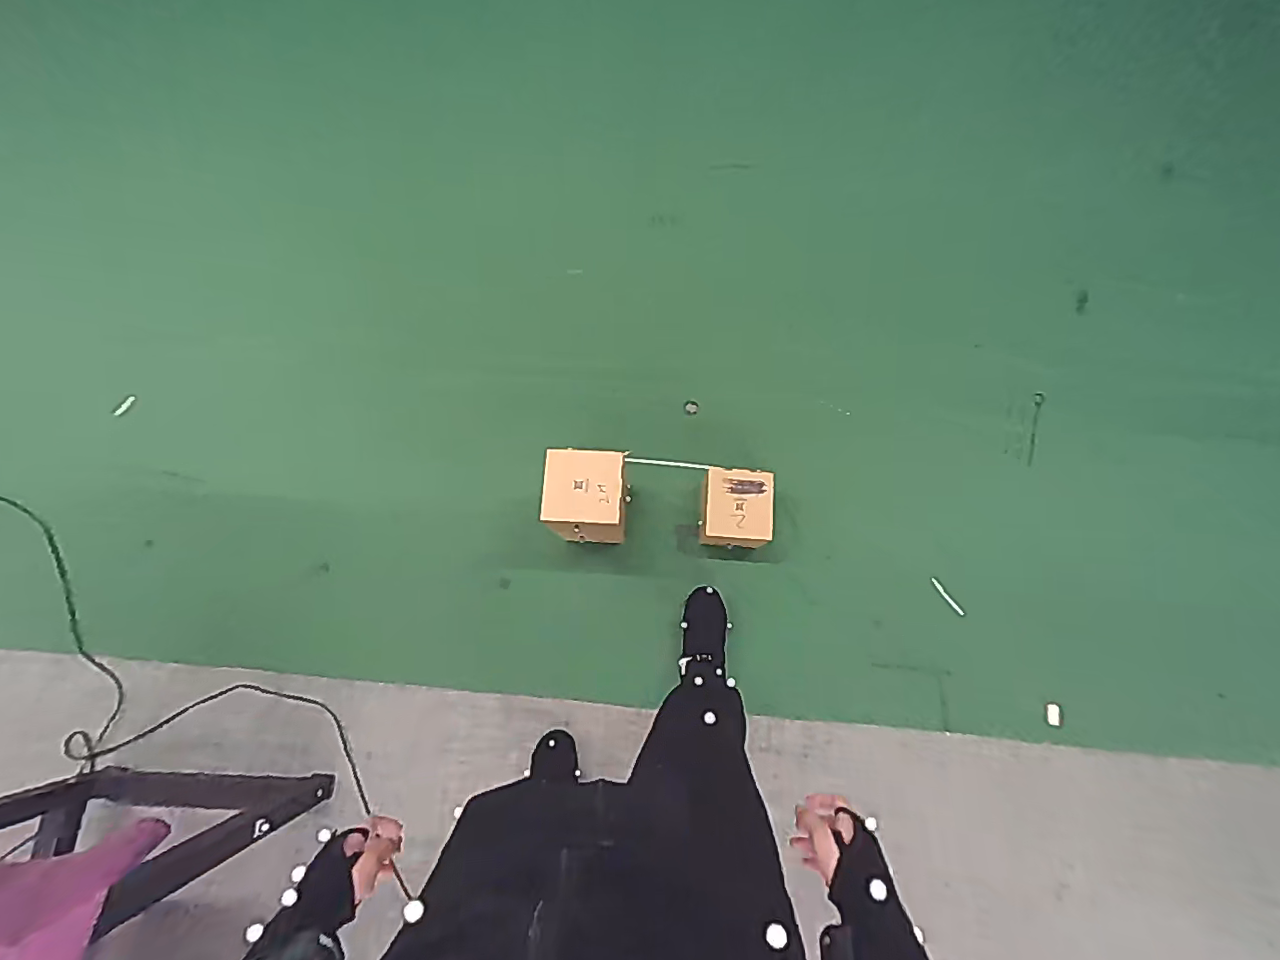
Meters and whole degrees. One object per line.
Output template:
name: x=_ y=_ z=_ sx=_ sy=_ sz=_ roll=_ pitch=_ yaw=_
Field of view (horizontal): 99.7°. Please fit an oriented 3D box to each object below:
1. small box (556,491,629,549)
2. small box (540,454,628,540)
small box: x=-0.119 y=0.083 z=1.425 sx=0.168 sy=0.176 sz=0.179 roll=3 pitch=75 yaw=2
small box: x=-0.124 y=0.046 z=1.265 sx=0.179 sy=0.176 sz=0.168 roll=3 pitch=75 yaw=1
